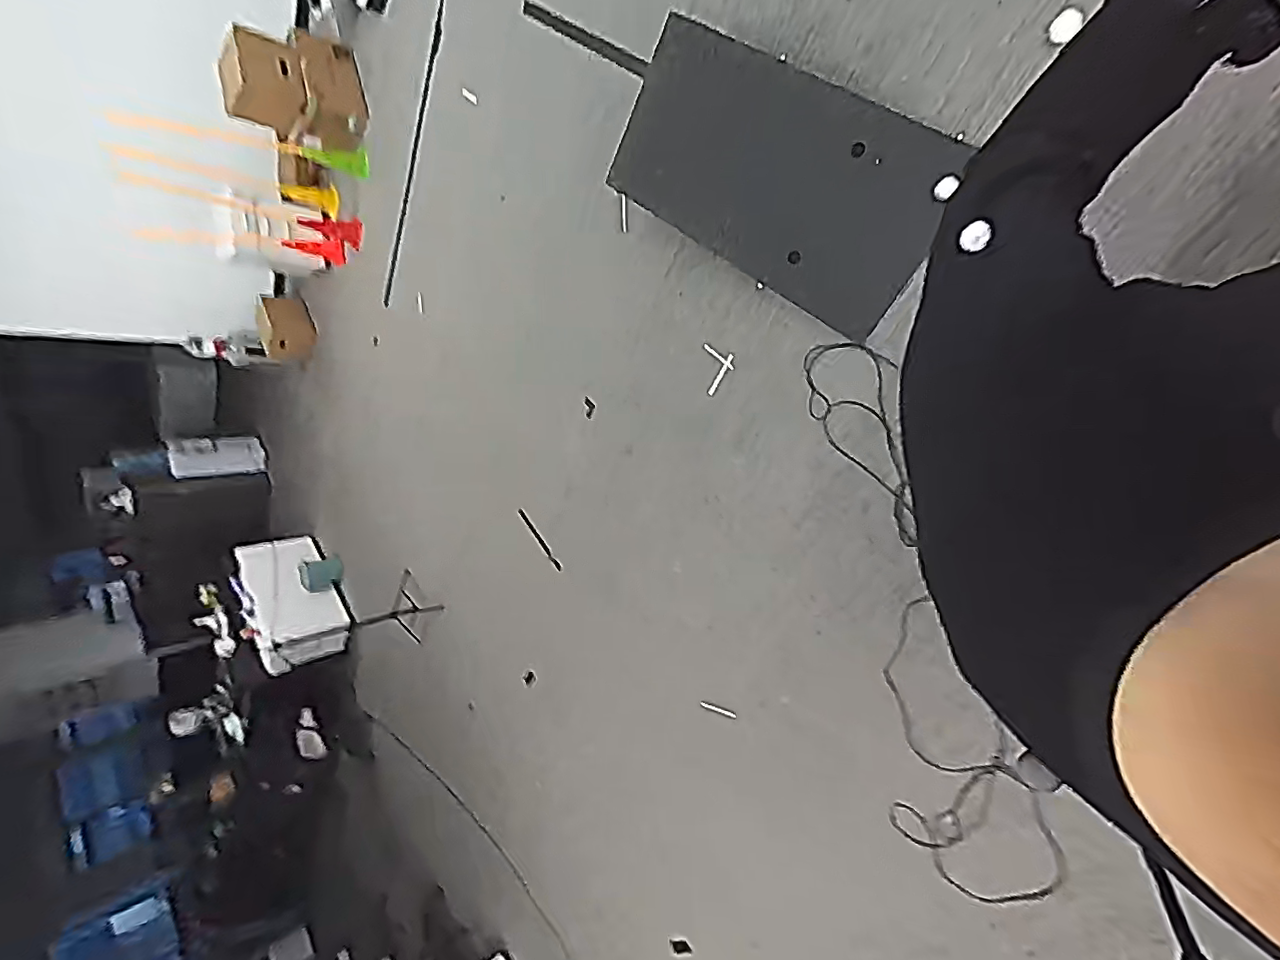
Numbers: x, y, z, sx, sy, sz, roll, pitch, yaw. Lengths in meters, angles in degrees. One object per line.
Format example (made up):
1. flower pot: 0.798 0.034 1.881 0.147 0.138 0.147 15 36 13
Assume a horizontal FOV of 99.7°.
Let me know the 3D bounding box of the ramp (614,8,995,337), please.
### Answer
1. ramp: 0.369 -0.876 1.515 0.991 0.206 0.509 46 124 29
